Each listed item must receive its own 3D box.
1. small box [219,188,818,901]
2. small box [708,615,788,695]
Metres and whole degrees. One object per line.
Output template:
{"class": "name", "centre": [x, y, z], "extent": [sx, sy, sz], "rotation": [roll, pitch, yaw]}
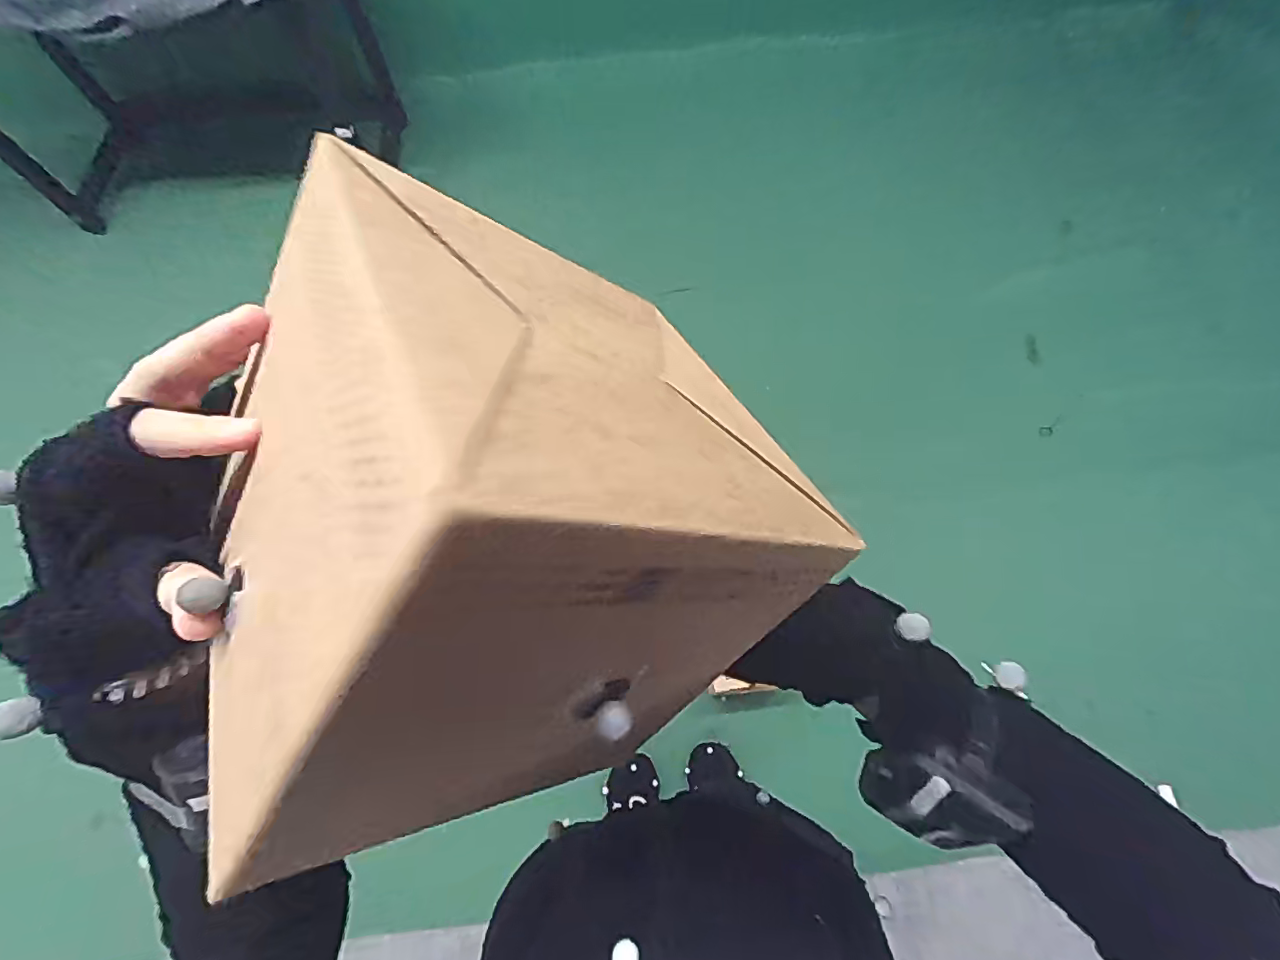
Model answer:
{"class": "small box", "centre": [-0.053, 0.016, 0.228], "extent": [0.176, 0.168, 0.179], "rotation": [-51, 53, 23]}
{"class": "small box", "centre": [0.240, 0.410, 1.282], "extent": [0.168, 0.176, 0.179], "rotation": [-6, 64, 0]}
